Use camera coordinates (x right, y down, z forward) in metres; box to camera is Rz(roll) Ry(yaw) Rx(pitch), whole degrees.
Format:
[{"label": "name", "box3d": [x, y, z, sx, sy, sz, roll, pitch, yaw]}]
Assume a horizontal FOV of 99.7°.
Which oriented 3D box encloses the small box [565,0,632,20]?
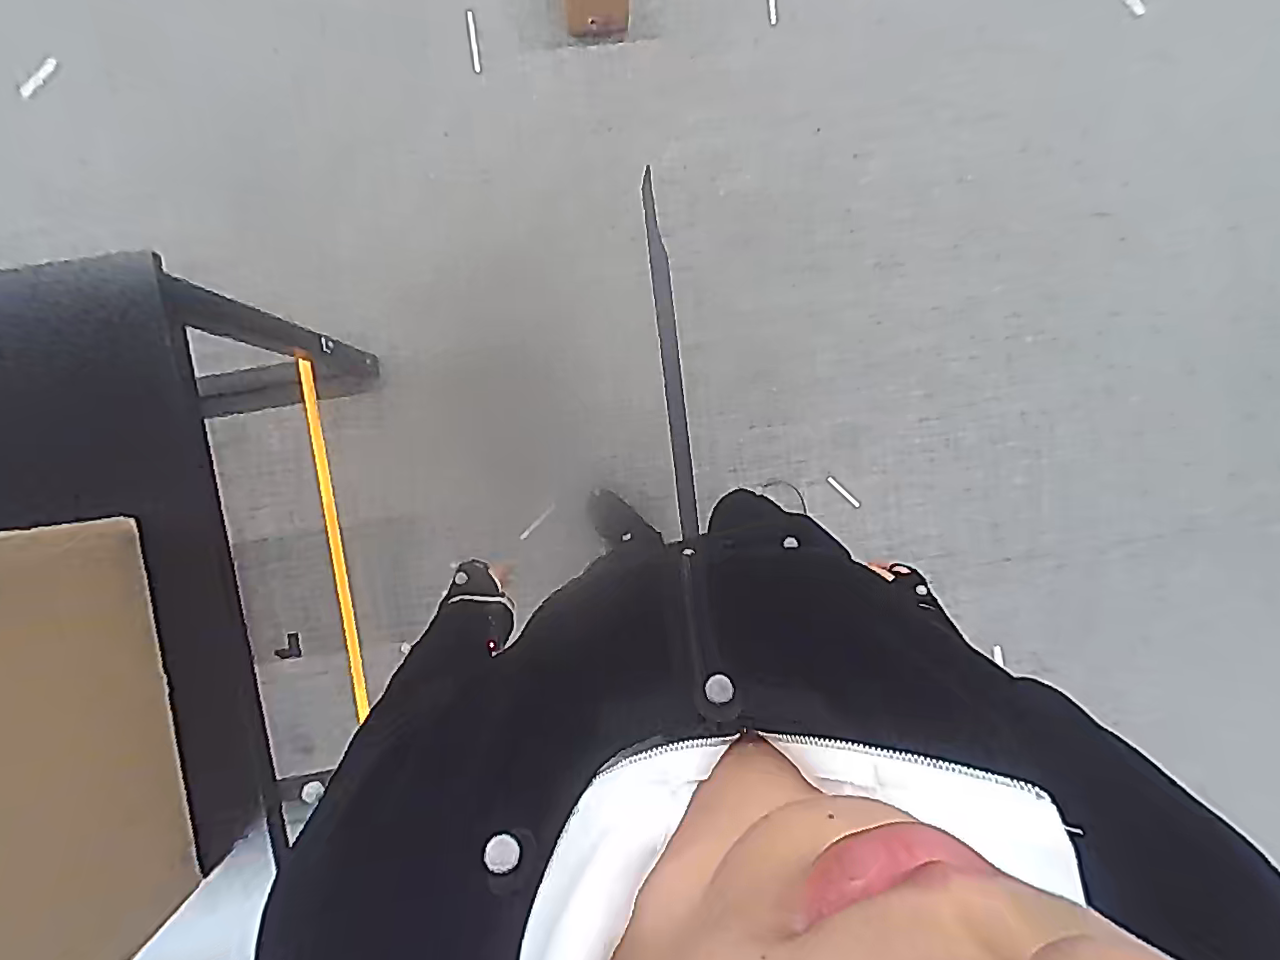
[{"label": "small box", "box3d": [-0.108, -1.229, 1.254, 0.168, 0.176, 0.179, -10, 95, -2]}]
